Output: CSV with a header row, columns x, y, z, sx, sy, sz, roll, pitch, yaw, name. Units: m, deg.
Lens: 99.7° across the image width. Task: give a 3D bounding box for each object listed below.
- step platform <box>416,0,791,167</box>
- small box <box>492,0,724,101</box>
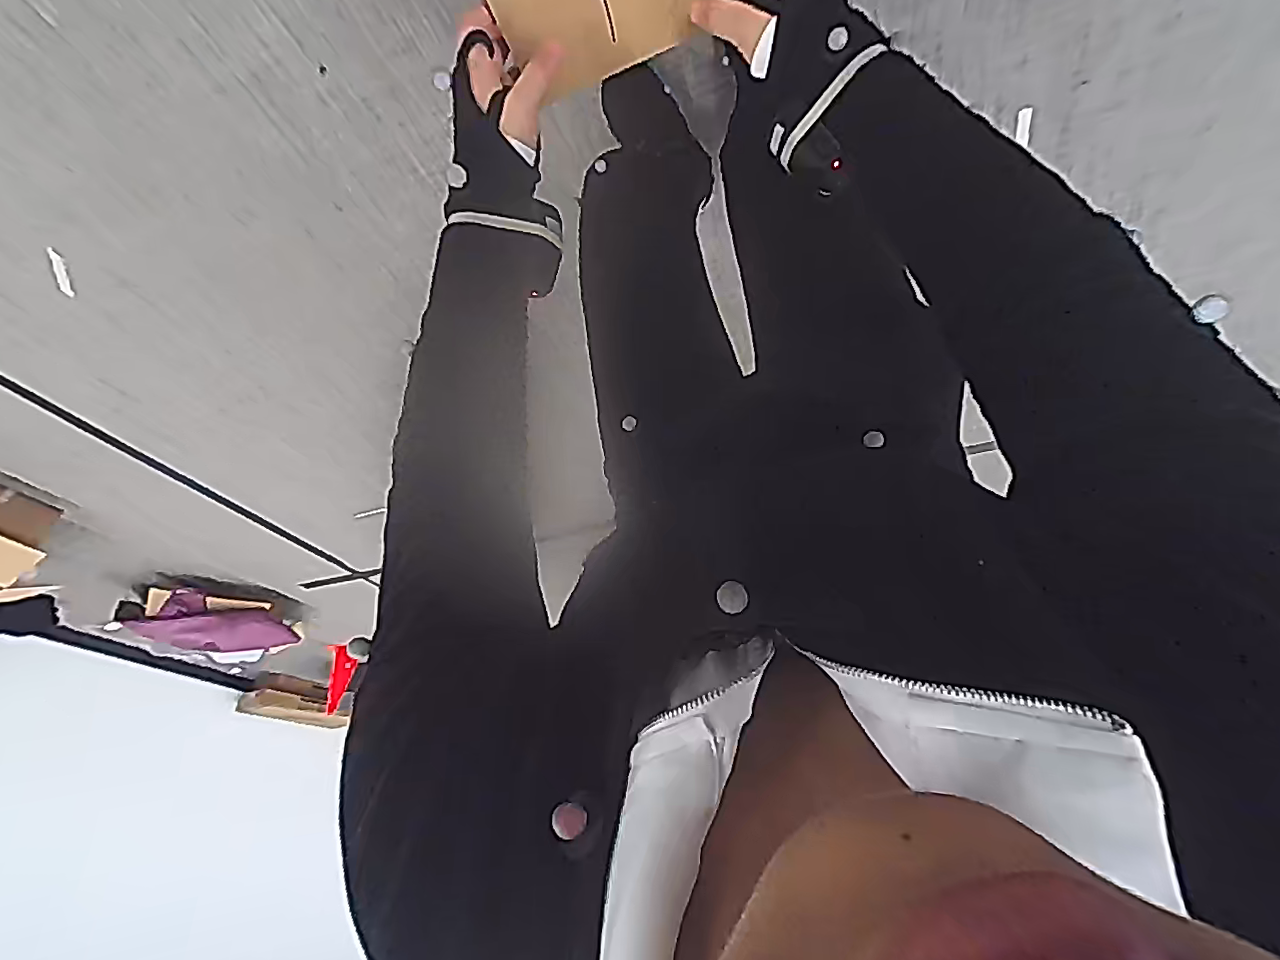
x,y,z,sx,sy,sz,roll,pitch,yaw,name
0.117,-0.580,0.485,0.684,0.204,0.286,-15,141,18,step platform
-0.045,-0.448,0.414,0.168,0.176,0.179,-14,146,14,small box
